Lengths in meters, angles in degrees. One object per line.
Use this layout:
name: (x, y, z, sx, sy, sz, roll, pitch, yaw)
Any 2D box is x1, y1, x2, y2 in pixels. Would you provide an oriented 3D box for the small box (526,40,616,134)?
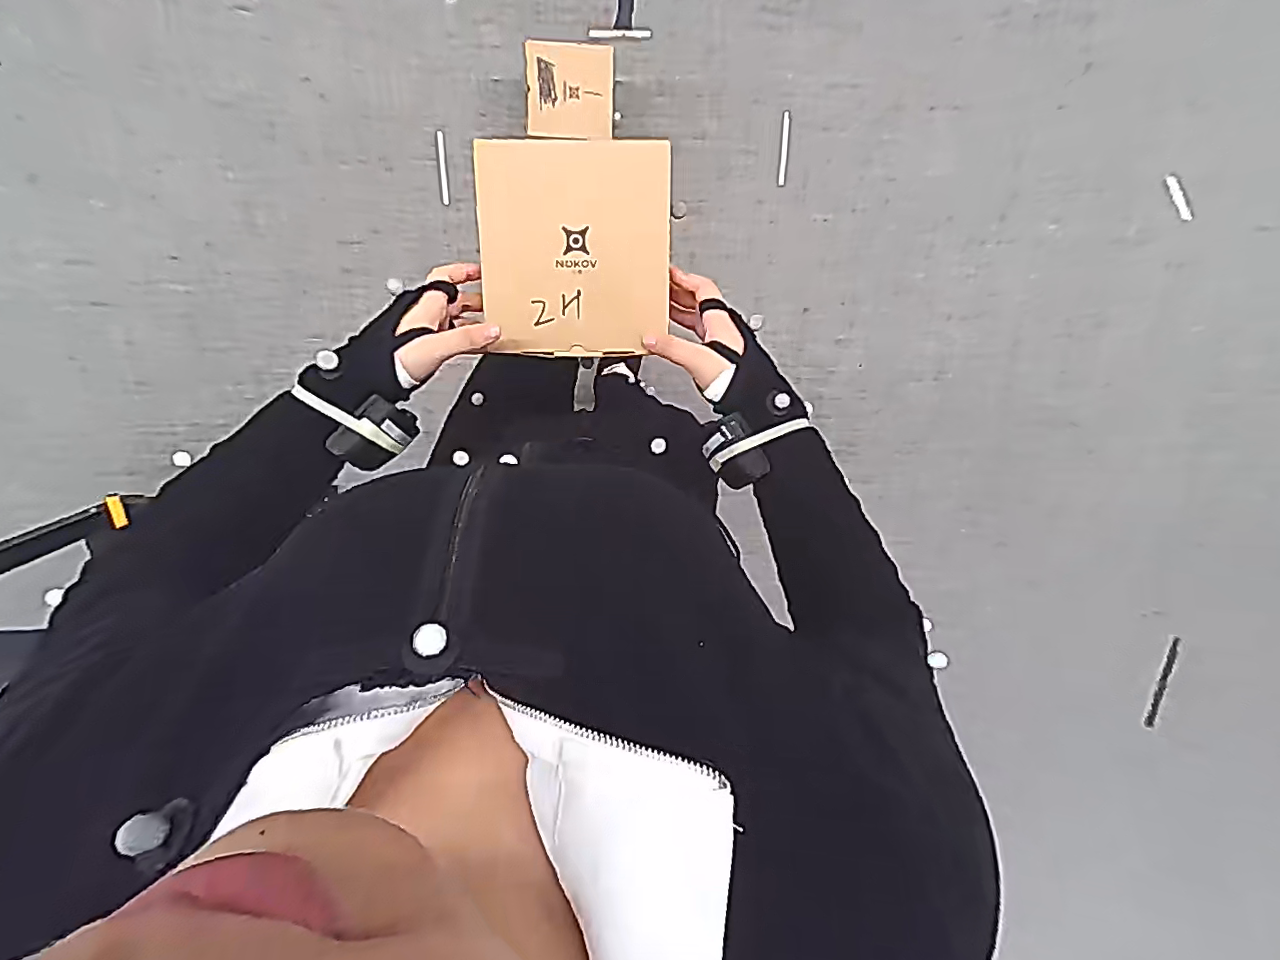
small box: (-0.144, -0.801, 1.156, 0.179, 0.176, 0.168, 2, 109, -4)

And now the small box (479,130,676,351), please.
small box: (-0.055, -0.221, 0.543, 0.168, 0.176, 0.179, 0, 104, 0)
